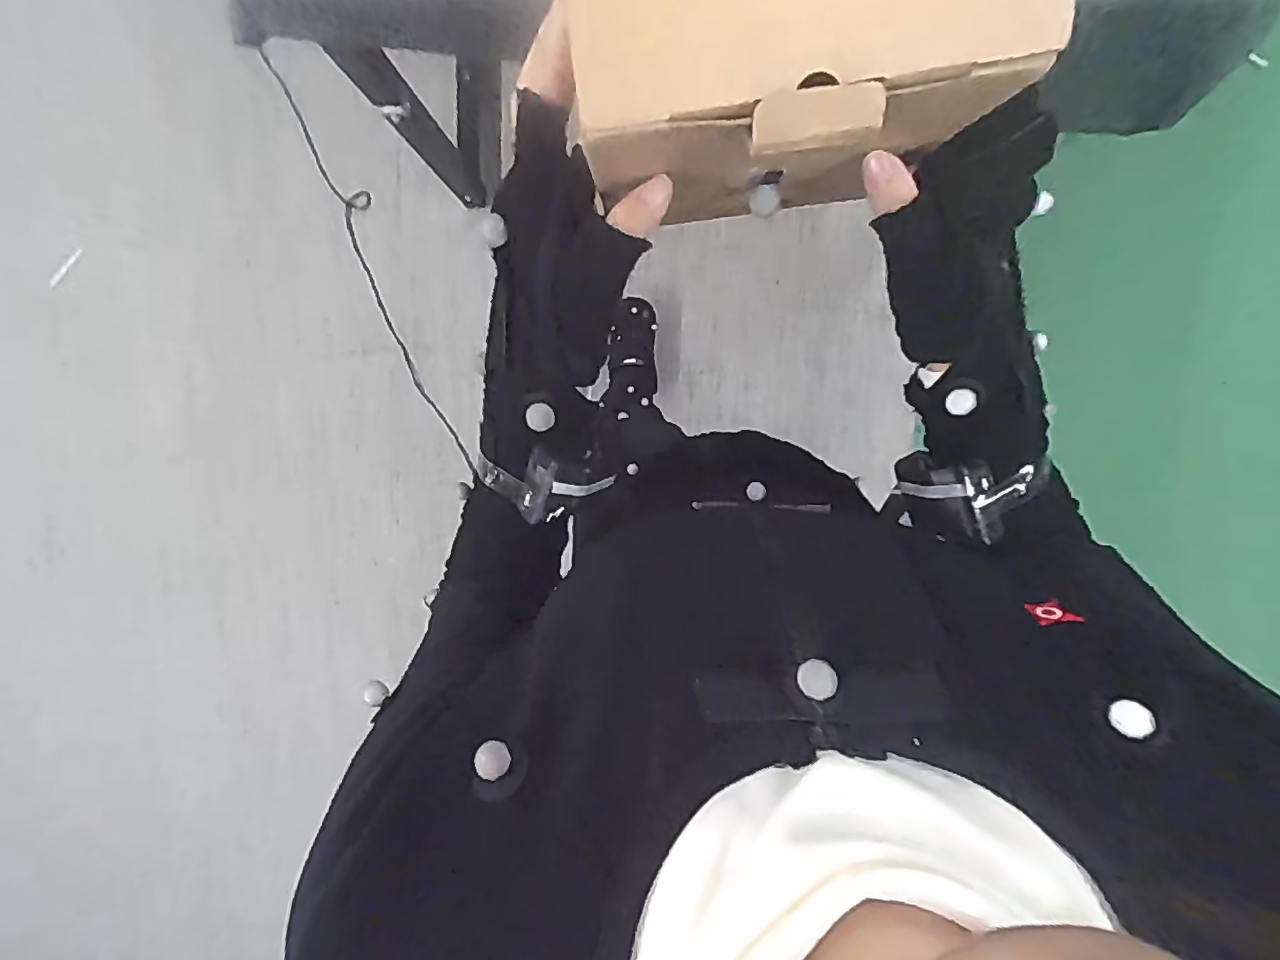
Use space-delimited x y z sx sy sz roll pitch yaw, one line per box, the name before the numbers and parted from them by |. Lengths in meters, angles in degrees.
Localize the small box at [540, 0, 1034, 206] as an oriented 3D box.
small box | 0.045 -0.236 0.243 0.168 0.176 0.179 -6 104 3
